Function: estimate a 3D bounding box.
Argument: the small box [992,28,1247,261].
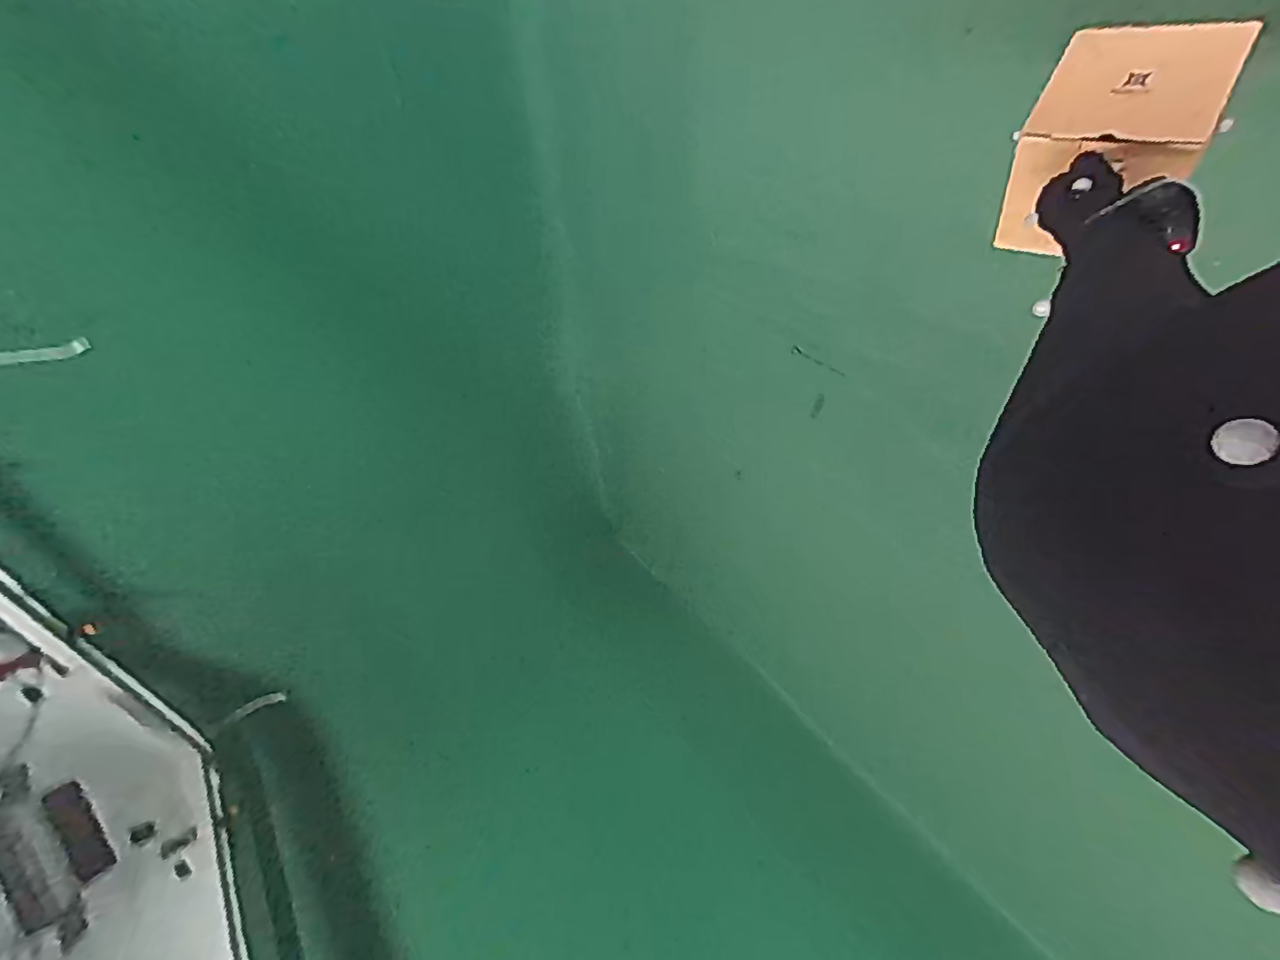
[{"bbox_3d":[0.568,-0.409,0.669,0.168,0.179,0.176,26,170,29],"label":"small box"}]
